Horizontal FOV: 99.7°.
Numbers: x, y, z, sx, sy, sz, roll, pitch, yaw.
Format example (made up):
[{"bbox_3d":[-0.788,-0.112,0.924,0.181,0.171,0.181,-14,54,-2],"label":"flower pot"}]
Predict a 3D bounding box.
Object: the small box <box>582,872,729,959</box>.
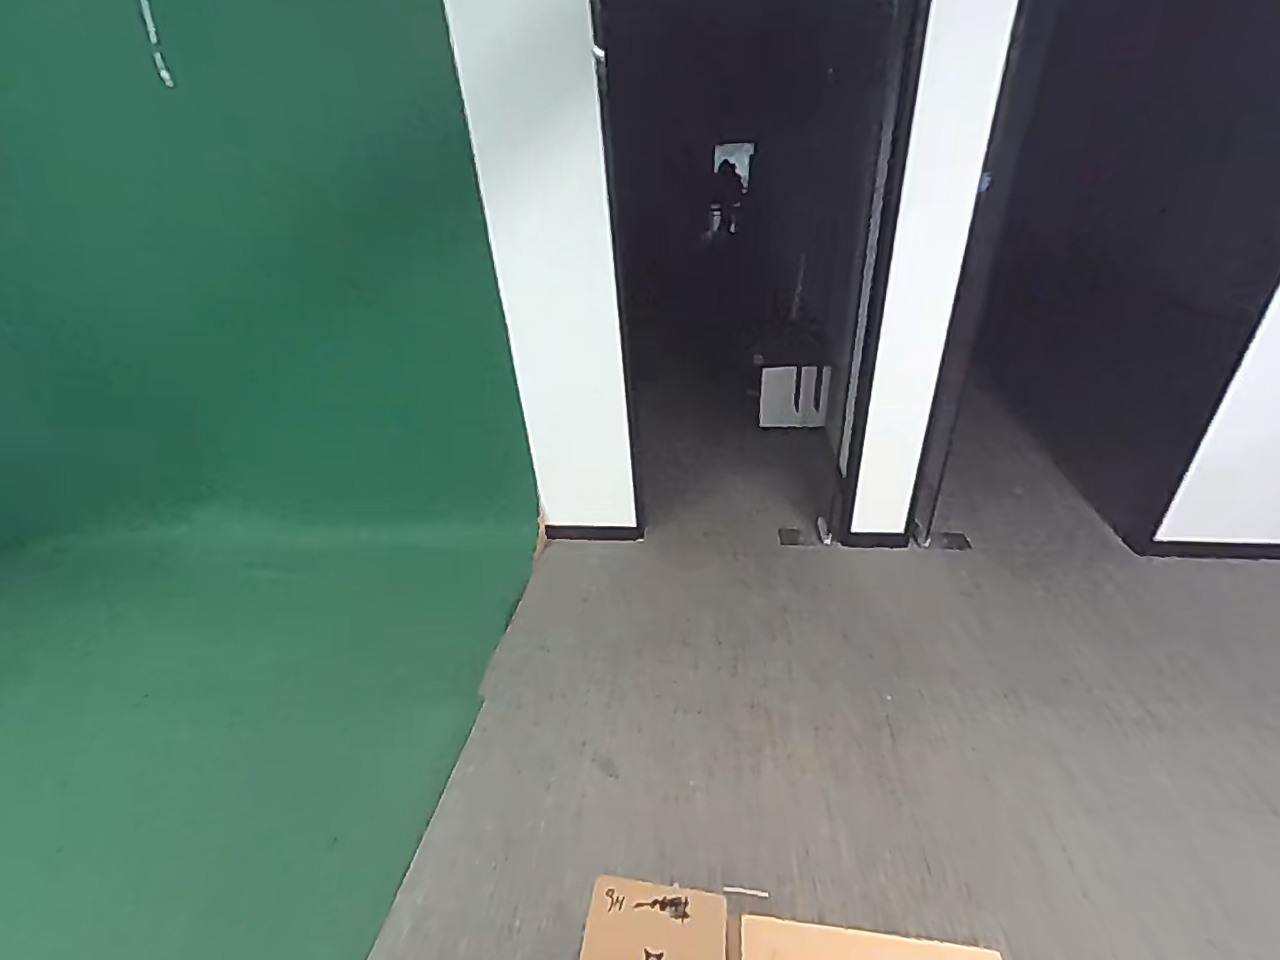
[{"bbox_3d":[0.020,0.614,0.642,0.168,0.176,0.179,2,33,10],"label":"small box"}]
